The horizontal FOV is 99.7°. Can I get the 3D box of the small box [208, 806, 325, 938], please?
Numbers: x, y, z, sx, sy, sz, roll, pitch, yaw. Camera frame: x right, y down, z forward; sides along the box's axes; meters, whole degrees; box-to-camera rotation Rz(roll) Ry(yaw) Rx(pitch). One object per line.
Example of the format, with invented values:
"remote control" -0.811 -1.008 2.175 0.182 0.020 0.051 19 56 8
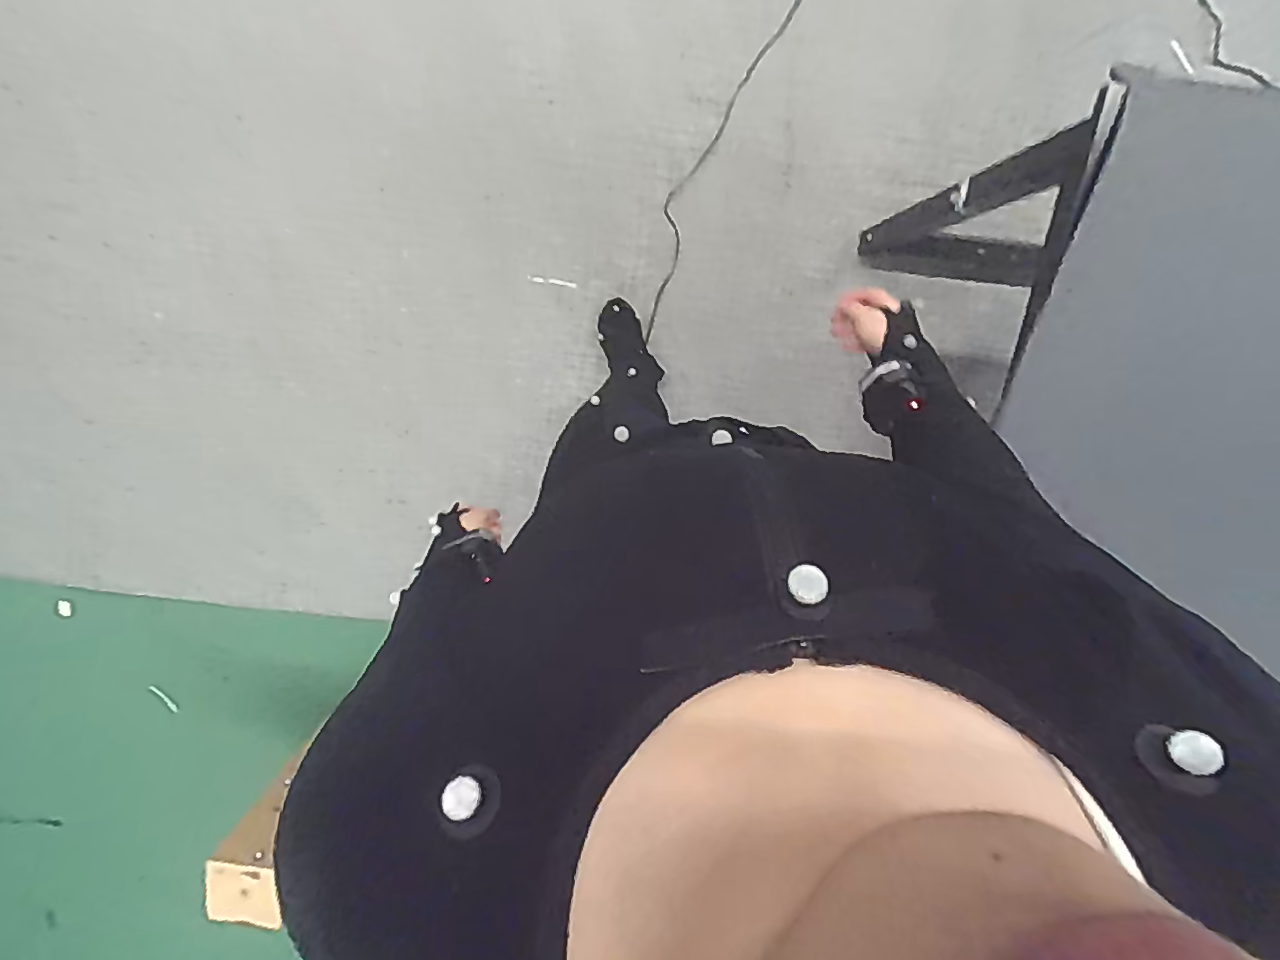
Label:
"small box" -0.872 0.917 1.275 0.168 0.176 0.179 10 104 -2
